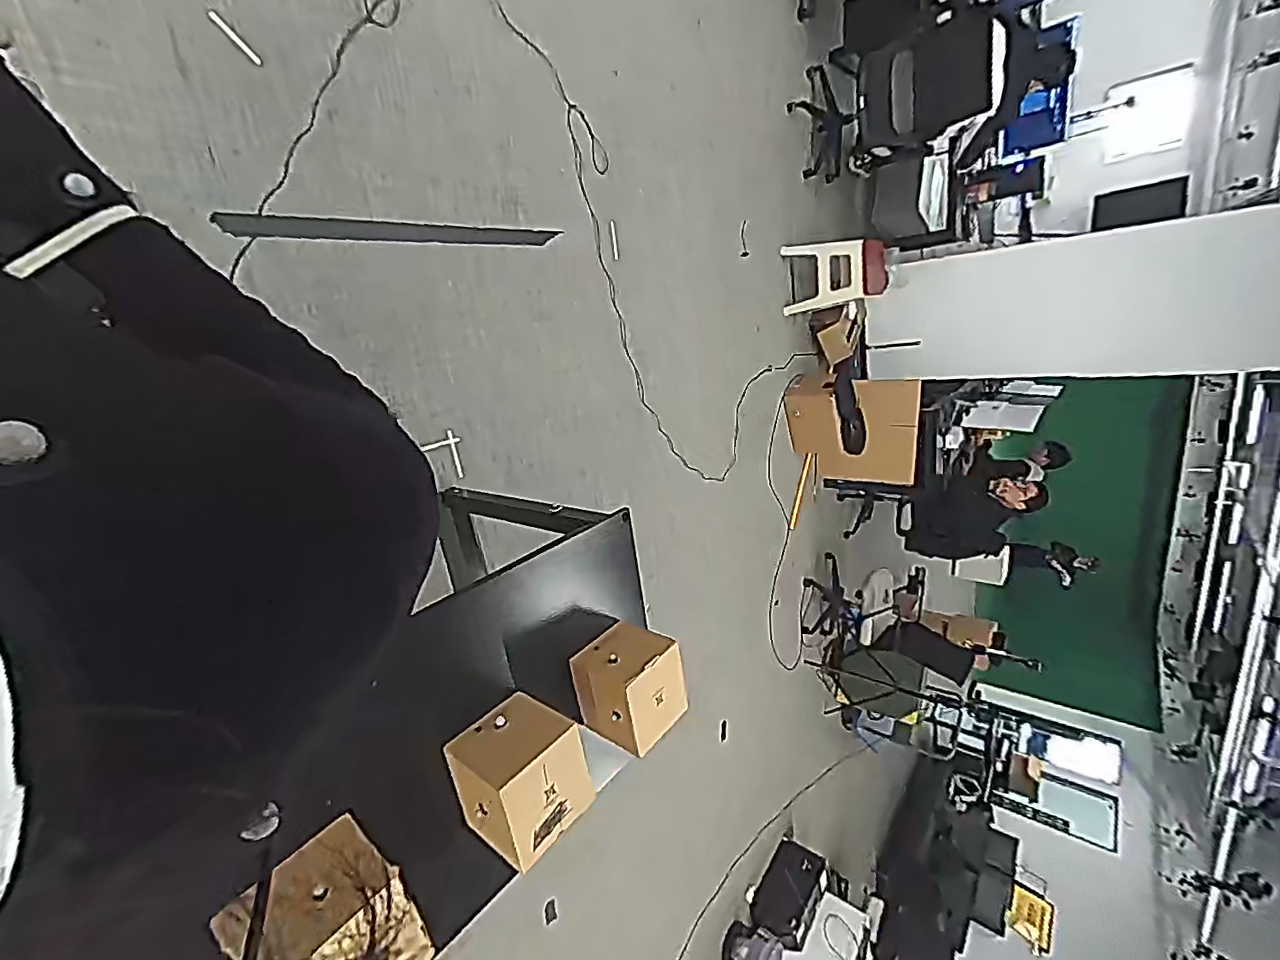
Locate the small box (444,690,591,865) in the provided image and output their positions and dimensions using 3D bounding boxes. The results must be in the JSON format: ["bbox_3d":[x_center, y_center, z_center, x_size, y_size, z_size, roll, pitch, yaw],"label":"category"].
[{"bbox_3d":[-0.213,0.505,0.946,0.168,0.176,0.179,-27,114,-44],"label":"small box"}]

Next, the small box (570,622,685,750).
[{"bbox_3d":[-0.029,0.423,1.151,0.168,0.176,0.179,-28,116,-43],"label":"small box"}]

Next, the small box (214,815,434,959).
[{"bbox_3d":[-0.417,0.600,0.721,0.179,0.176,0.168,-32,118,-43],"label":"small box"}]
